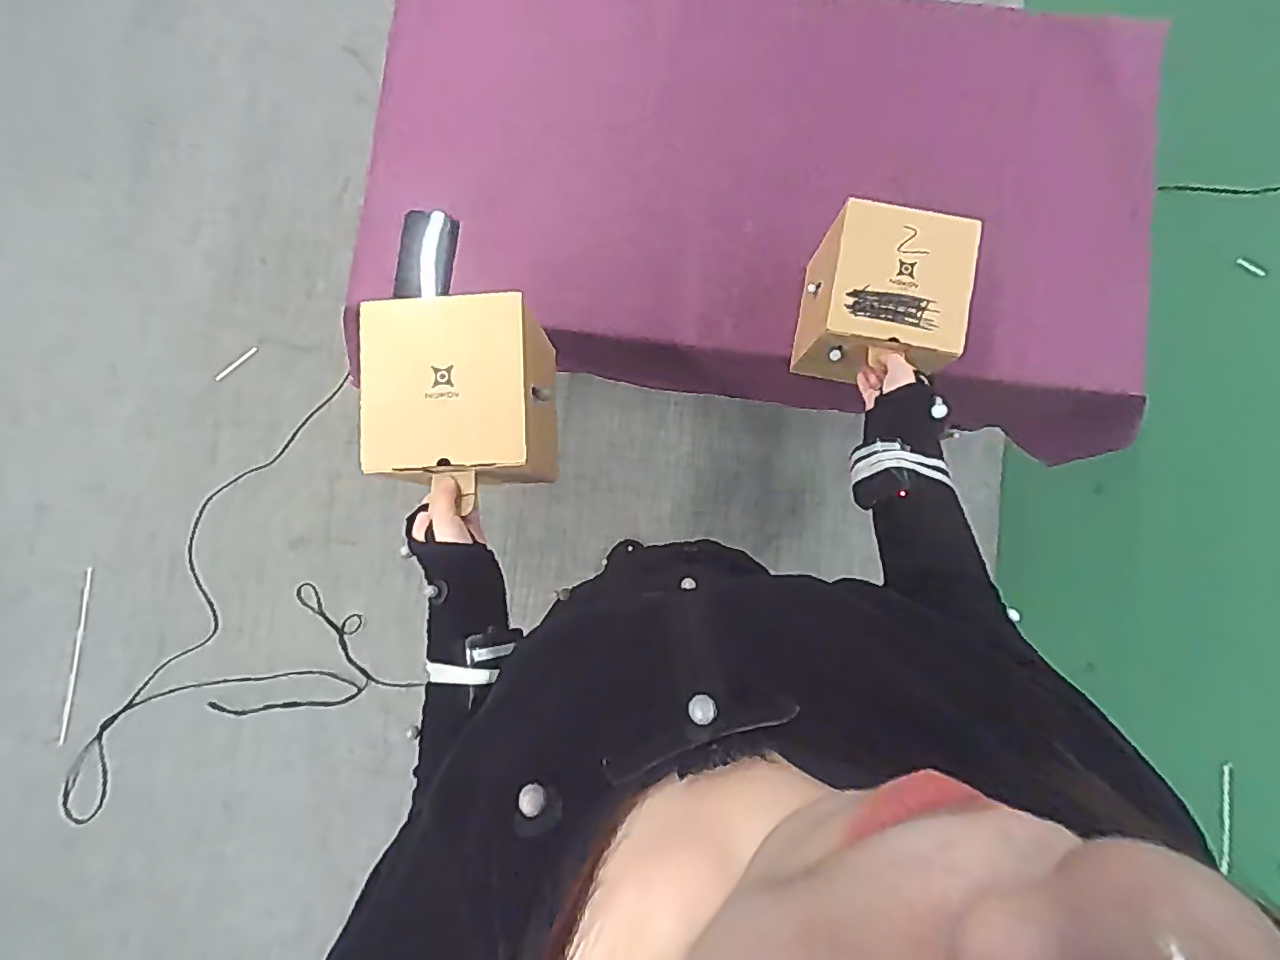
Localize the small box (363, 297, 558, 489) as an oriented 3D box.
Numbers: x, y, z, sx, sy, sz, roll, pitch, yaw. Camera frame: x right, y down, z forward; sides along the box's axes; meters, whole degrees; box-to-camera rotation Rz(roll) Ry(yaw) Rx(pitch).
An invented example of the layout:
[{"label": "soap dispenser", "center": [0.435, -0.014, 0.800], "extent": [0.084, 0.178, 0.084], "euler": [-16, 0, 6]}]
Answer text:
[{"label": "small box", "center": [-0.188, -0.086, 0.610], "extent": [0.168, 0.176, 0.179], "euler": [-3, 85, 1]}]
